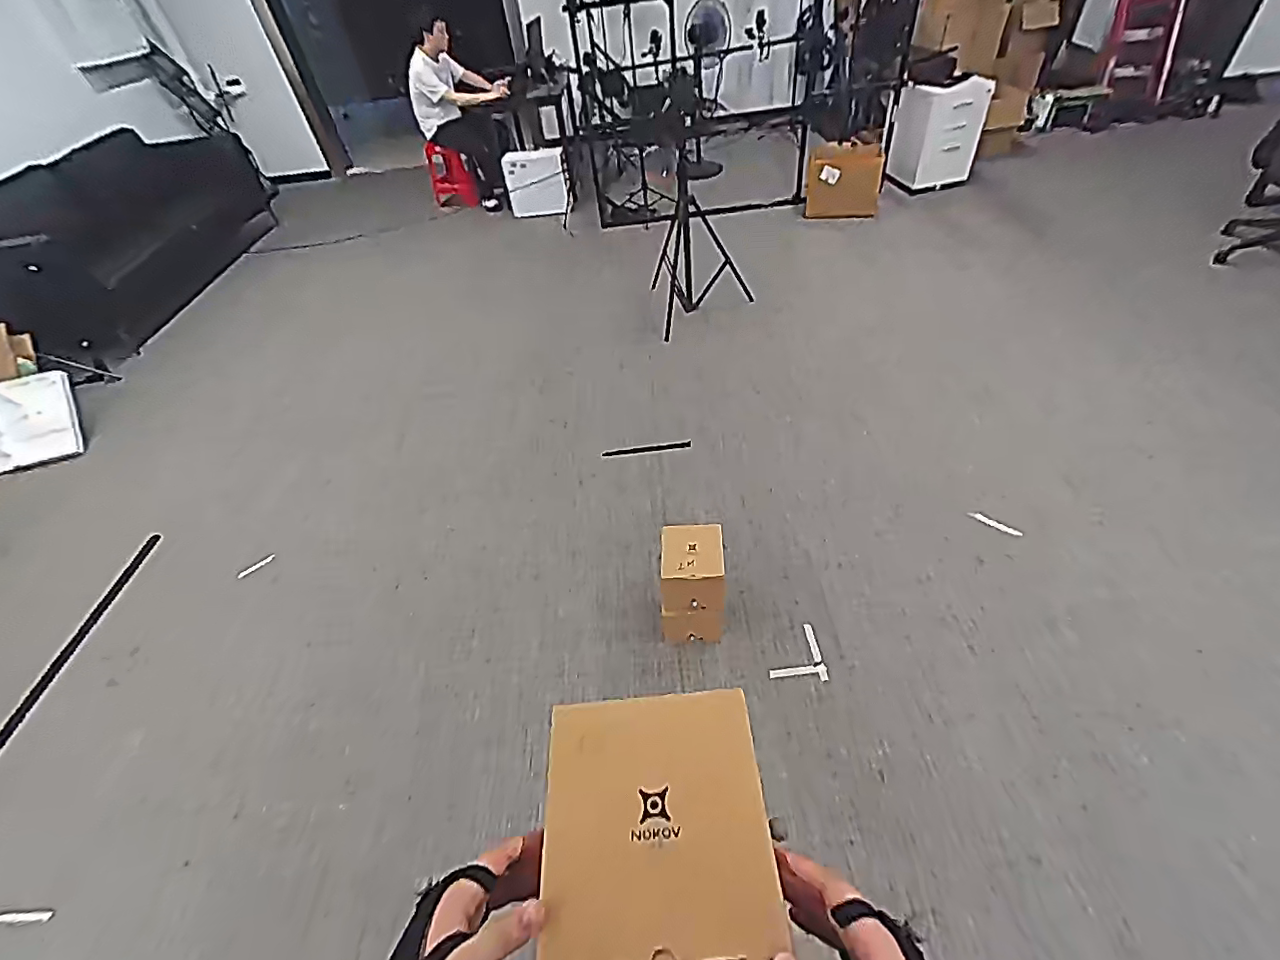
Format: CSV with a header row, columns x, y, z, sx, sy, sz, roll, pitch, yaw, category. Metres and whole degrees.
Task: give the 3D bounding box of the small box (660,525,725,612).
x,y,z,sx,sy,sz,roll,pitch,yaw,category
0.146,0.245,1.492,0.168,0.176,0.179,-3,46,7,small box
